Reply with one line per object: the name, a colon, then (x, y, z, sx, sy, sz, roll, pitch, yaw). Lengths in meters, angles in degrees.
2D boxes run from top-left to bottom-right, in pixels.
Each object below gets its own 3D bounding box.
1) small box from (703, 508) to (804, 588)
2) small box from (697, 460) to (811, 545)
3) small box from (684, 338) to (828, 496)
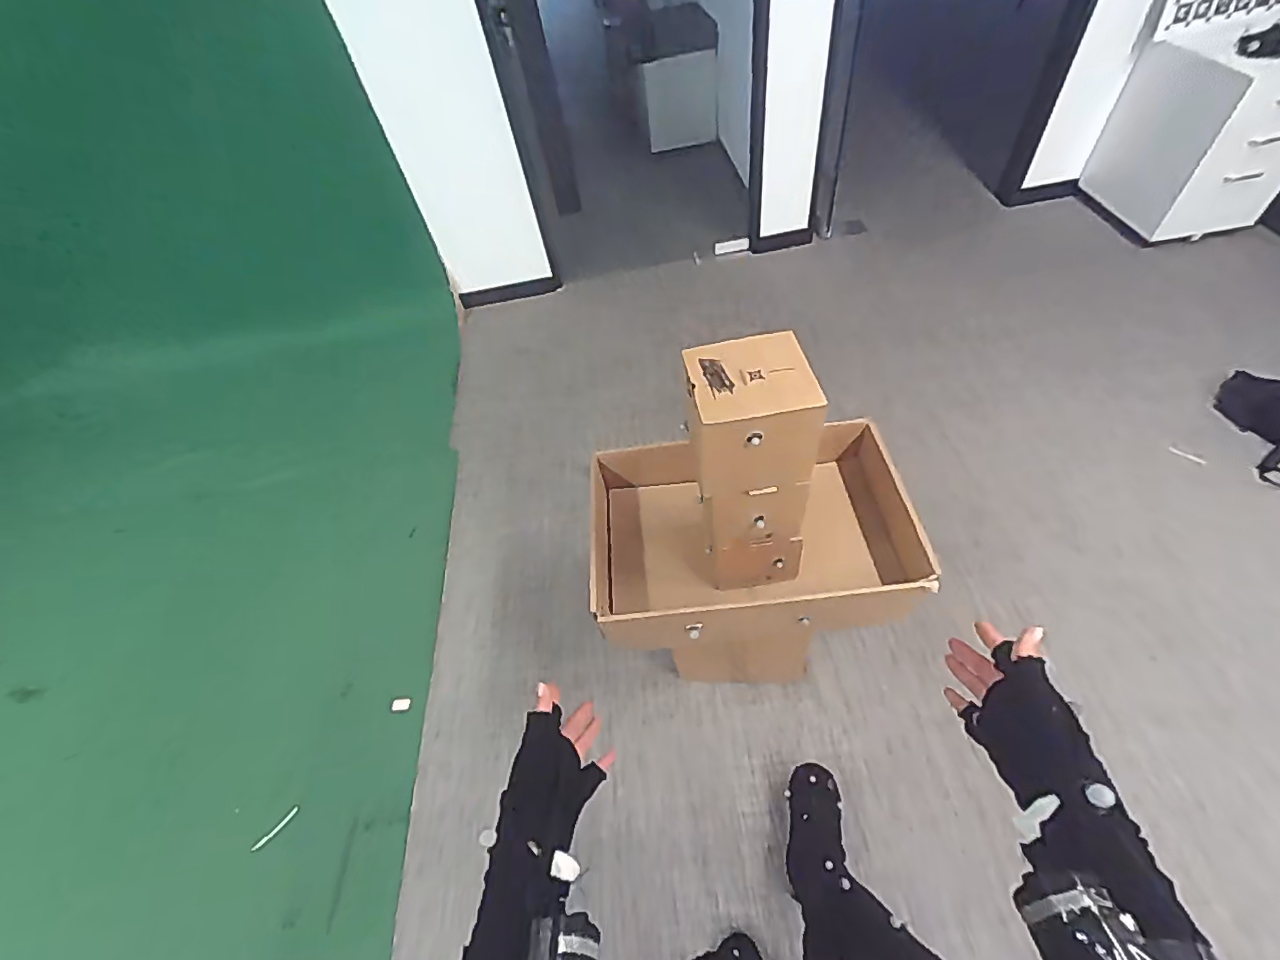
small box: (0.223, 0.106, 1.100, 0.168, 0.176, 0.179, -8, 50, 1)
small box: (0.197, 0.005, 0.974, 0.168, 0.176, 0.179, -8, 52, 2)
small box: (0.171, -0.092, 0.843, 0.179, 0.176, 0.168, -9, 52, 0)
